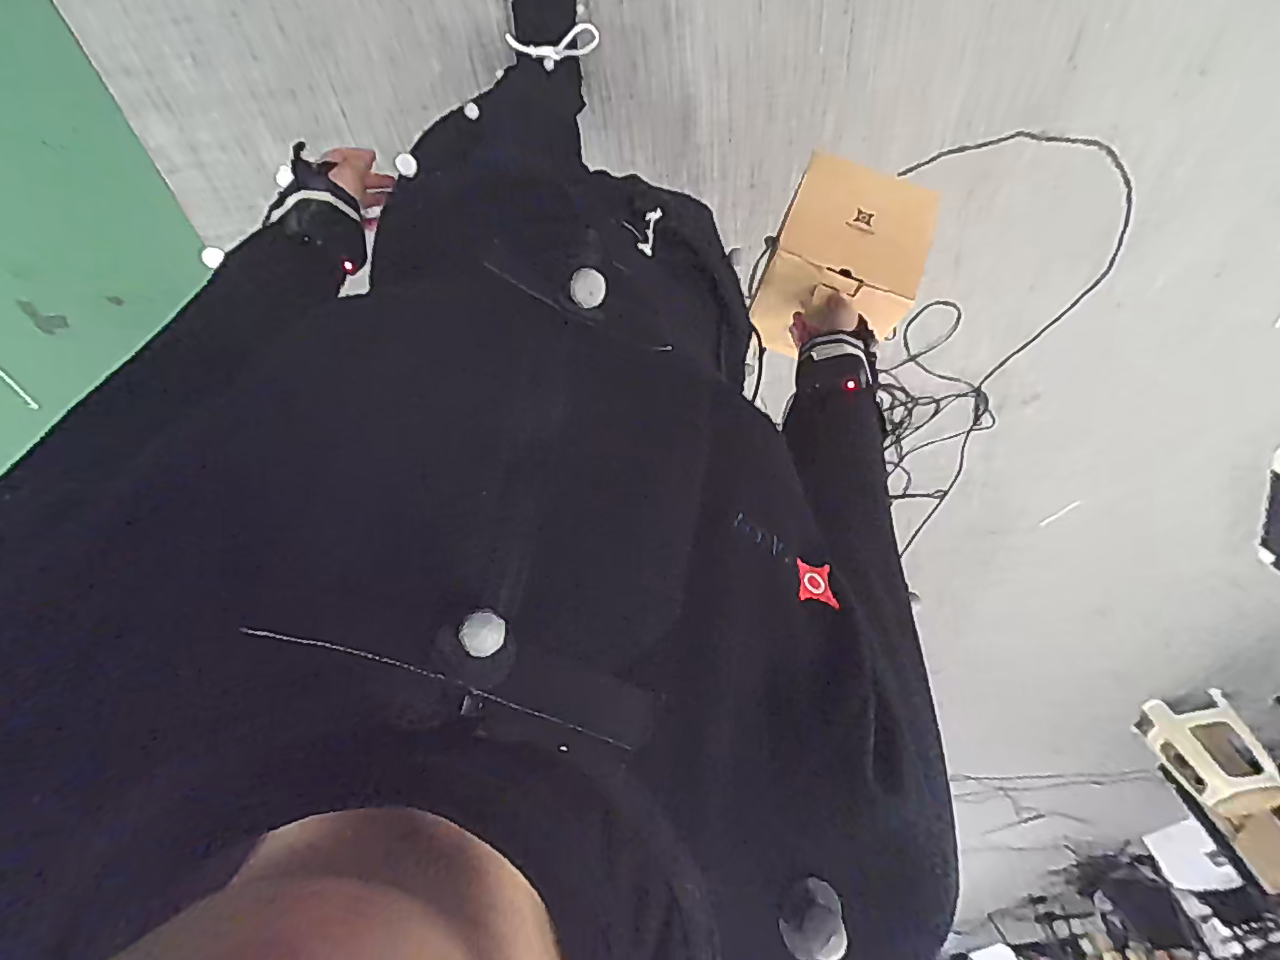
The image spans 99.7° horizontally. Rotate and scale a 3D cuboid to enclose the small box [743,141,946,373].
[{"bbox_3d":[0.245,-0.270,0.681,0.168,0.179,0.176,22,160,2],"label":"small box"}]
